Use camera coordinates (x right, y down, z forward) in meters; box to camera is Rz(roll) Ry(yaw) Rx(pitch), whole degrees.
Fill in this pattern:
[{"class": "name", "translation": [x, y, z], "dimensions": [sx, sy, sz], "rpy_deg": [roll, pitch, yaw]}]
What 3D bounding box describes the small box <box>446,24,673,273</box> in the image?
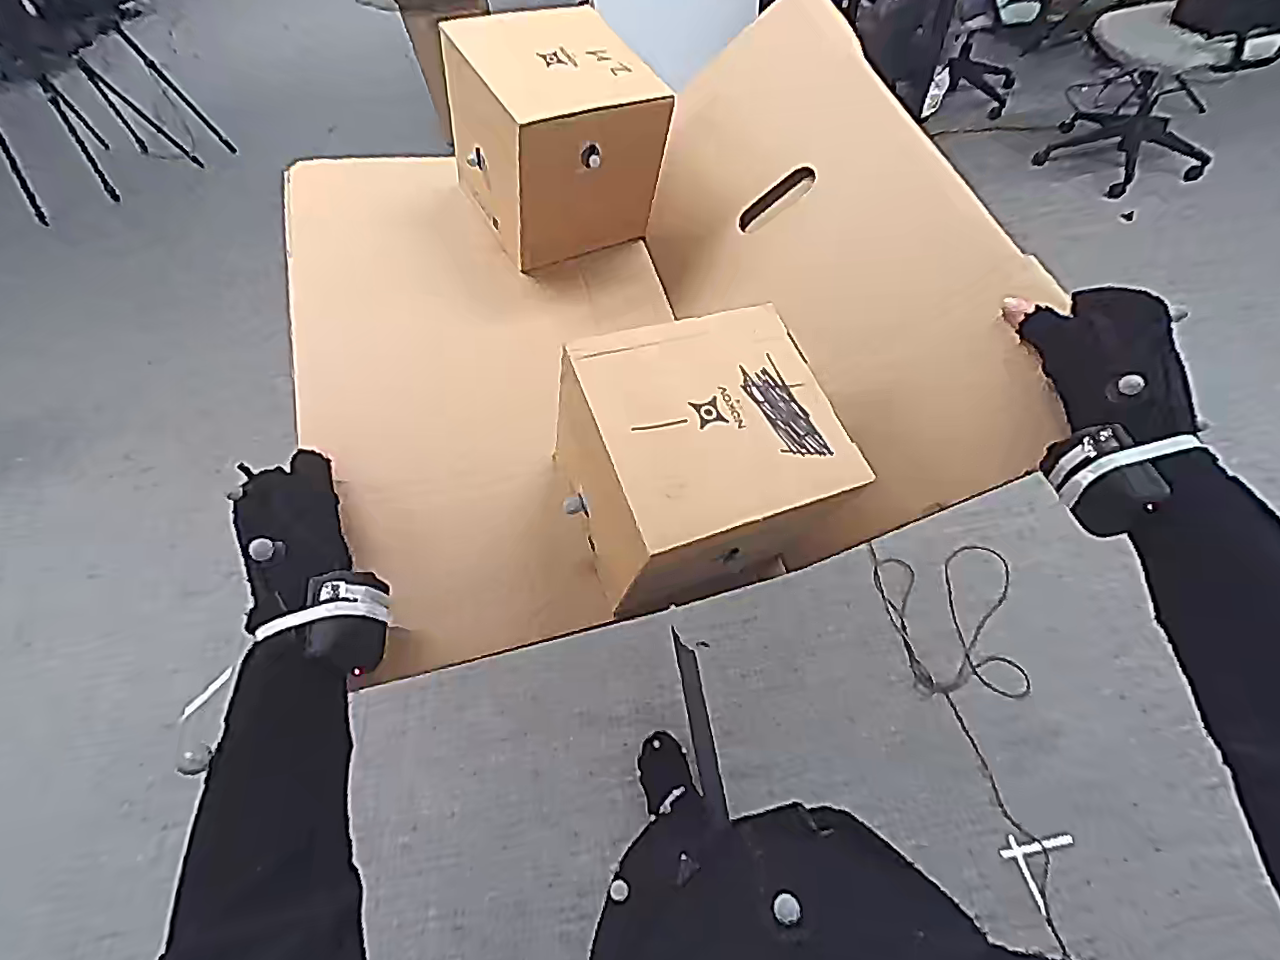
[{"class": "small box", "translation": [-0.091, -0.363, 0.606], "dimensions": [0.179, 0.176, 0.168], "rpy_deg": [-26, 71, -23]}]
